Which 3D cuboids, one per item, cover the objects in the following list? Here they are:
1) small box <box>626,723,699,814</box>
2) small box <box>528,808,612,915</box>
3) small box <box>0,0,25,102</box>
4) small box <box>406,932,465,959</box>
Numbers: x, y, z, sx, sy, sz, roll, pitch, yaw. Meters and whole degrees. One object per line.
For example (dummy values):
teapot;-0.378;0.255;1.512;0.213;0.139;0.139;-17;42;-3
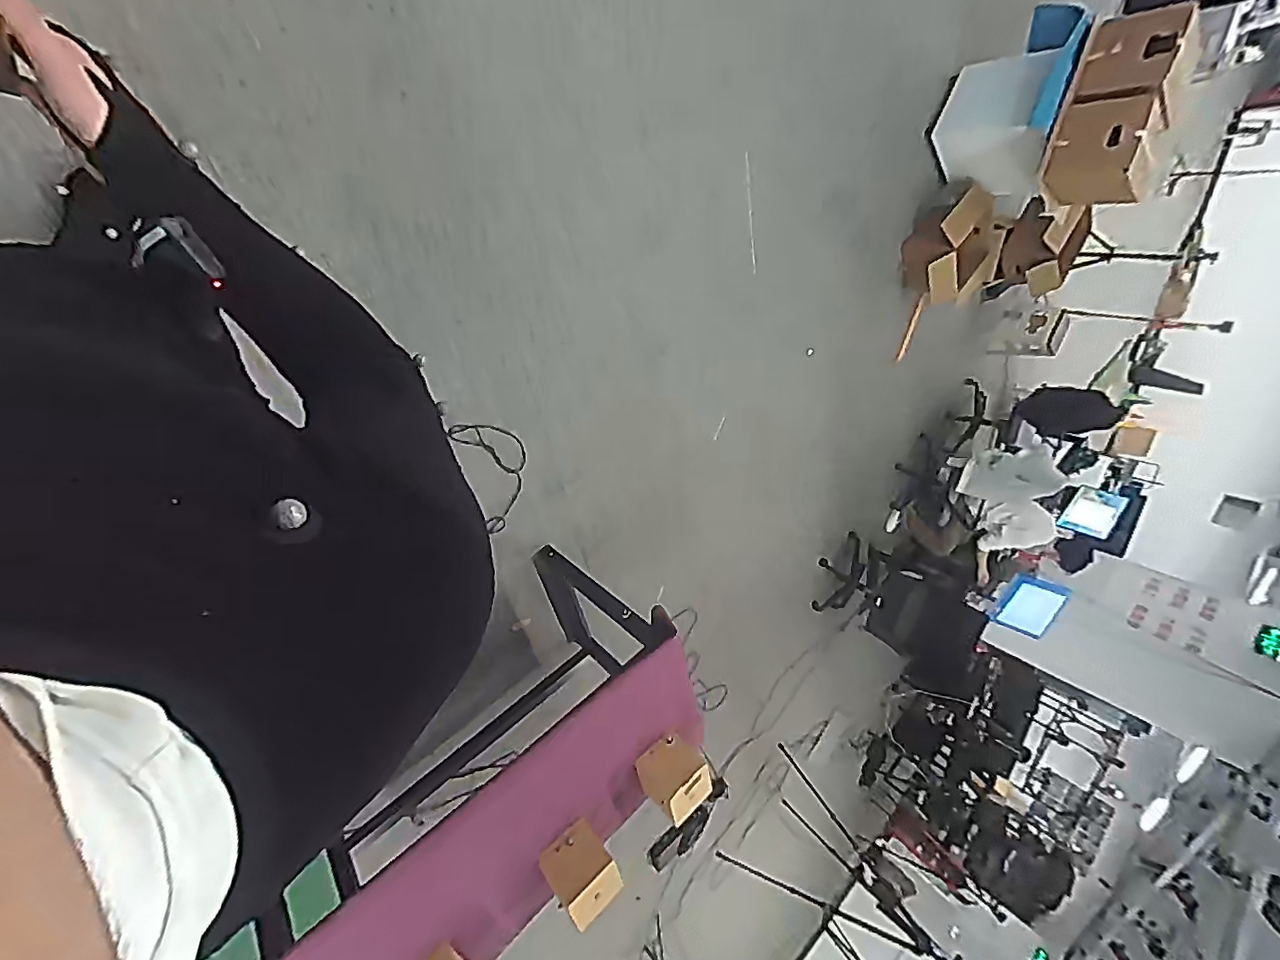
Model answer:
small box;0.071;0.942;1.786;0.168;0.176;0.179;-32;129;-28
small box;-0.209;1.132;1.616;0.168;0.176;0.179;-32;129;-30
small box;-0.551;-0.388;0.351;0.168;0.176;0.179;-15;111;-41
small box;-0.531;1.332;1.401;0.168;0.176;0.179;-33;131;-30
